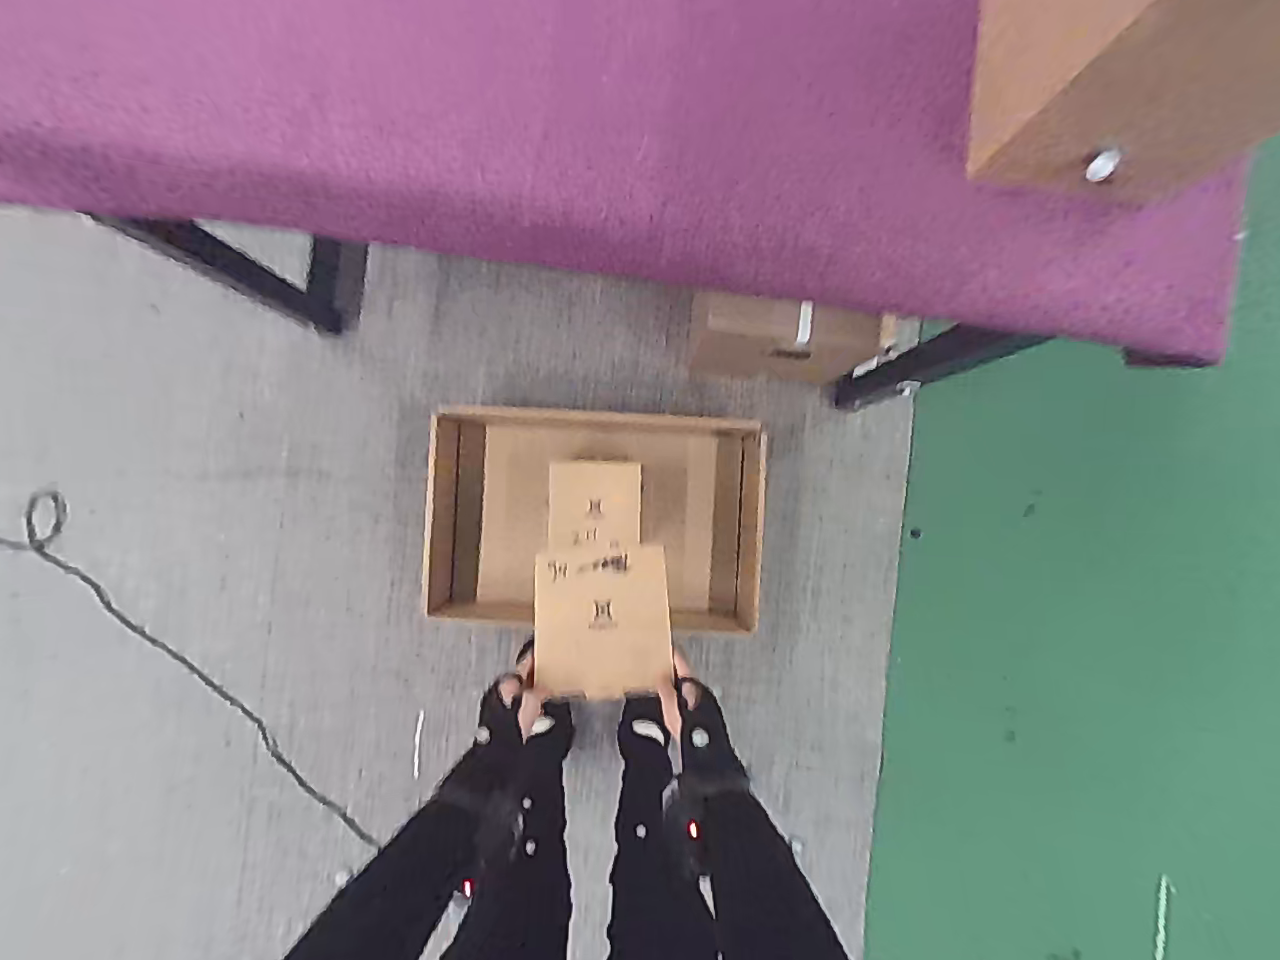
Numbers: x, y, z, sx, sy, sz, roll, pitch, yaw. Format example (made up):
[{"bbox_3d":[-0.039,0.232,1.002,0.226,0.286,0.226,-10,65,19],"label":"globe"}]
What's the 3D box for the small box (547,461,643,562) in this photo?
[{"bbox_3d":[-0.083,0.059,1.043,0.168,0.176,0.179,2,89,-1],"label":"small box"}]
